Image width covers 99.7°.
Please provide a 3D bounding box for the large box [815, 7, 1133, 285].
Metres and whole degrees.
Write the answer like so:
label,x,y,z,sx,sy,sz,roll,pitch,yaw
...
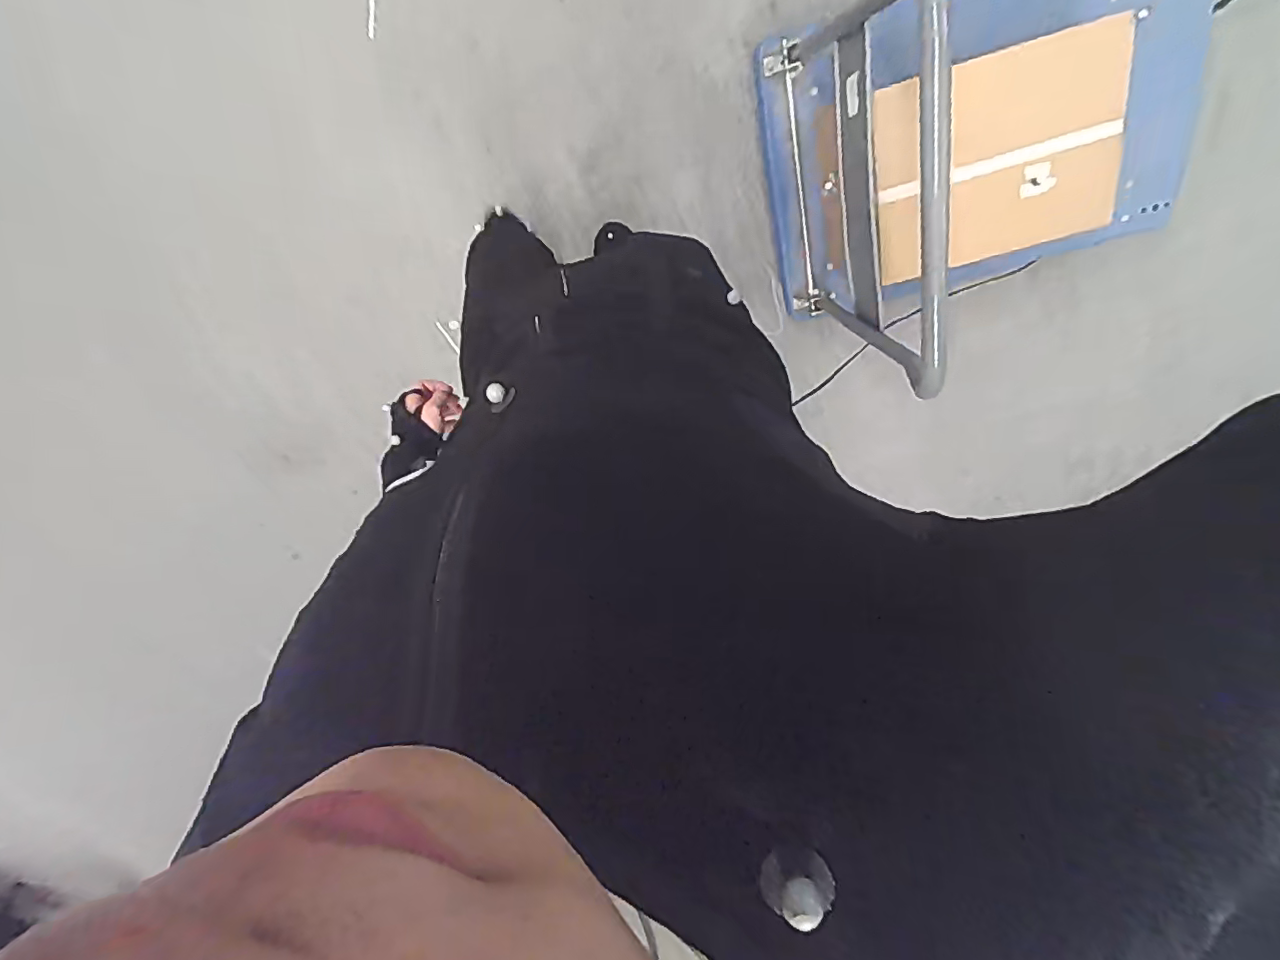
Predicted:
label,x,y,z,sx,sy,sz,roll,pitch,yaw
large box,0.595,-0.608,1.039,0.408,0.320,0.320,-14,119,7
